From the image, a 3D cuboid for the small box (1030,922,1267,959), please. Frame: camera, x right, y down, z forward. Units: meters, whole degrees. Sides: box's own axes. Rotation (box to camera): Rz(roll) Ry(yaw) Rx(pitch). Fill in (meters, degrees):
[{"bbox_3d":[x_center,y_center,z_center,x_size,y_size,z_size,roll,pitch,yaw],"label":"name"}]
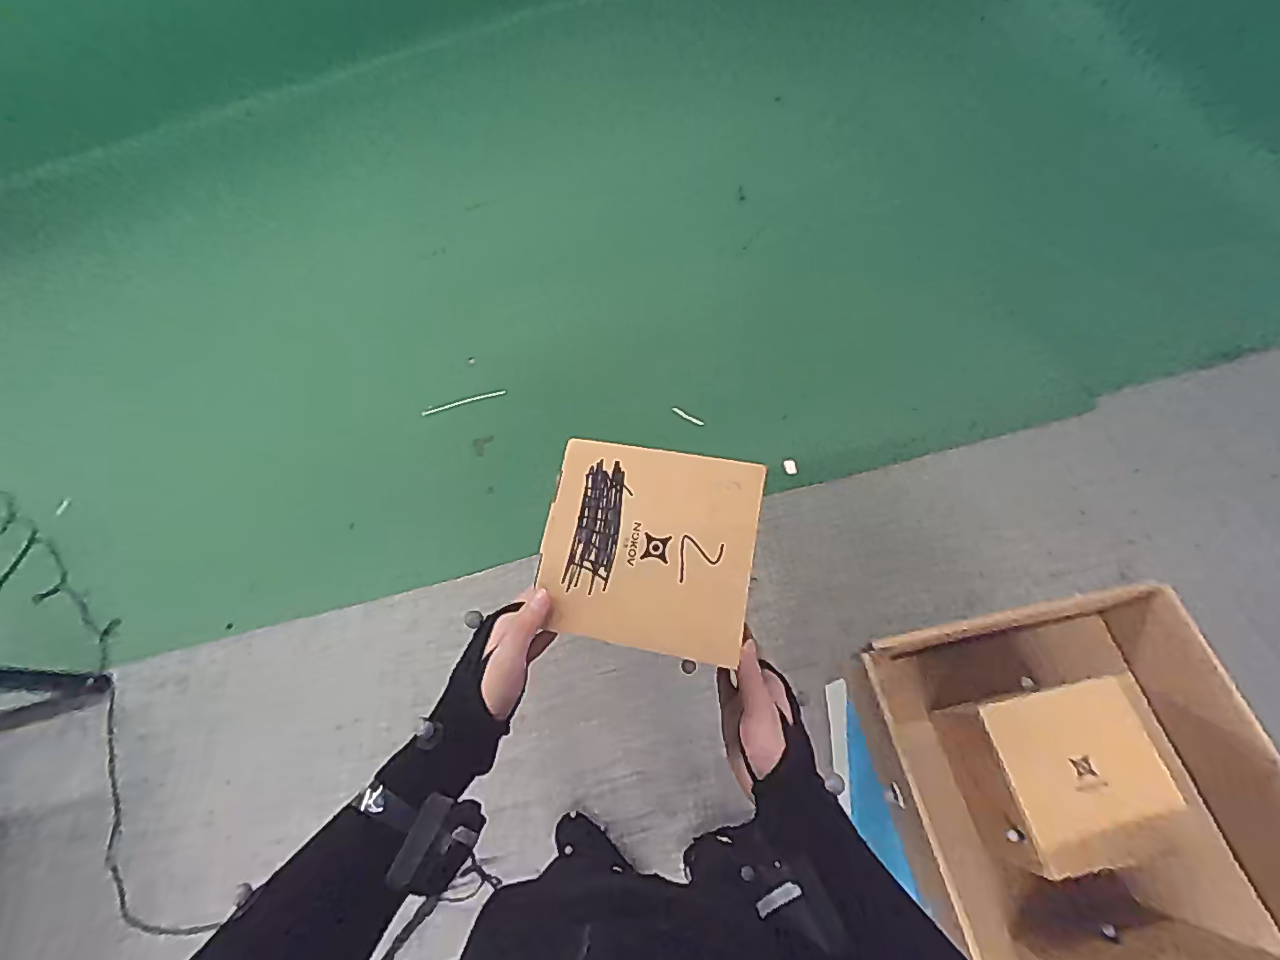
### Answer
[{"bbox_3d":[0.551,0.584,0.548,0.168,0.176,0.179,-17,62,1],"label":"small box"}]
